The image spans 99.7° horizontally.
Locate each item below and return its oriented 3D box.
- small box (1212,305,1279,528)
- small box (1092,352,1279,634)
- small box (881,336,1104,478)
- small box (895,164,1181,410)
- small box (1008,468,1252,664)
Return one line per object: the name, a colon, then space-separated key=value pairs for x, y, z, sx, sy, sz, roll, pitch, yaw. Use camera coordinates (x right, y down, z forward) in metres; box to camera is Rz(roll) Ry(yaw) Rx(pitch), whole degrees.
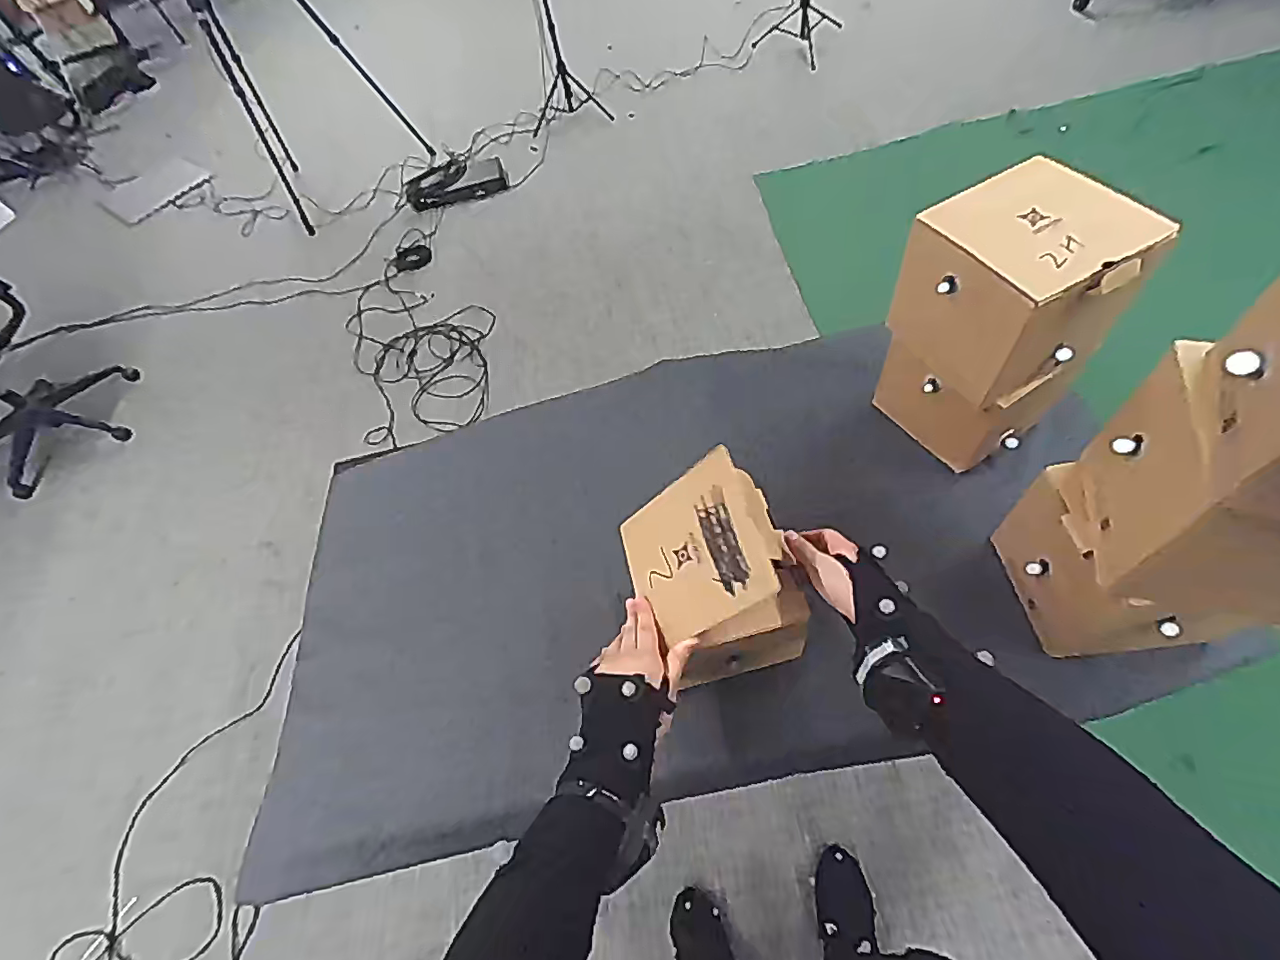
small box: x=0.497 y=-0.056 z=0.309 sx=0.179 sy=0.176 sz=0.168 roll=19 pitch=61 yaw=23
small box: x=0.523 y=0.016 z=0.457 sx=0.179 sy=0.176 sz=0.168 roll=10 pitch=58 yaw=17
small box: x=0.472 y=-0.136 z=0.762 sx=0.168 sy=0.176 sz=0.179 roll=-33 pitch=60 yaw=-7
small box: x=0.426 y=-0.215 z=0.623 sx=0.168 sy=0.176 sz=0.179 roll=-27 pitch=59 yaw=-3
small box: x=0.546 y=0.094 z=0.599 sx=0.179 sy=0.176 sz=0.168 roll=-9 pitch=55 yaw=7
